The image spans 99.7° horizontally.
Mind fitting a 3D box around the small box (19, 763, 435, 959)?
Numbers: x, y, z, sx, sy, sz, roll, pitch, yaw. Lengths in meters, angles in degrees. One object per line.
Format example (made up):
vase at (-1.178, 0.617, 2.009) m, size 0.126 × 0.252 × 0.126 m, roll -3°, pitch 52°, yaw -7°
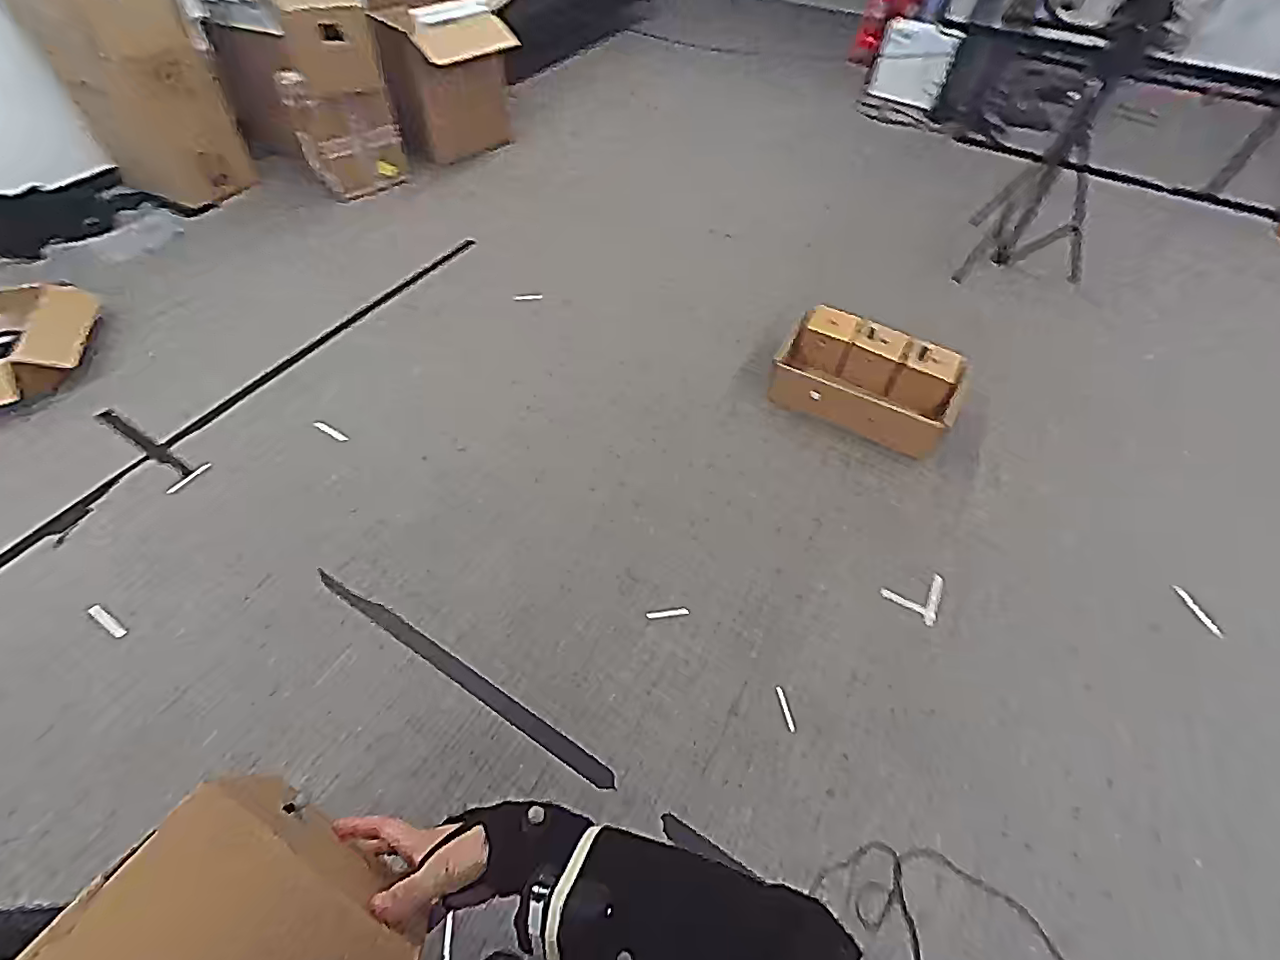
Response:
small box at (-0.261, 0.319, 0.358) m, size 0.179 × 0.176 × 0.168 m, roll 38°, pitch 58°, yaw 4°
